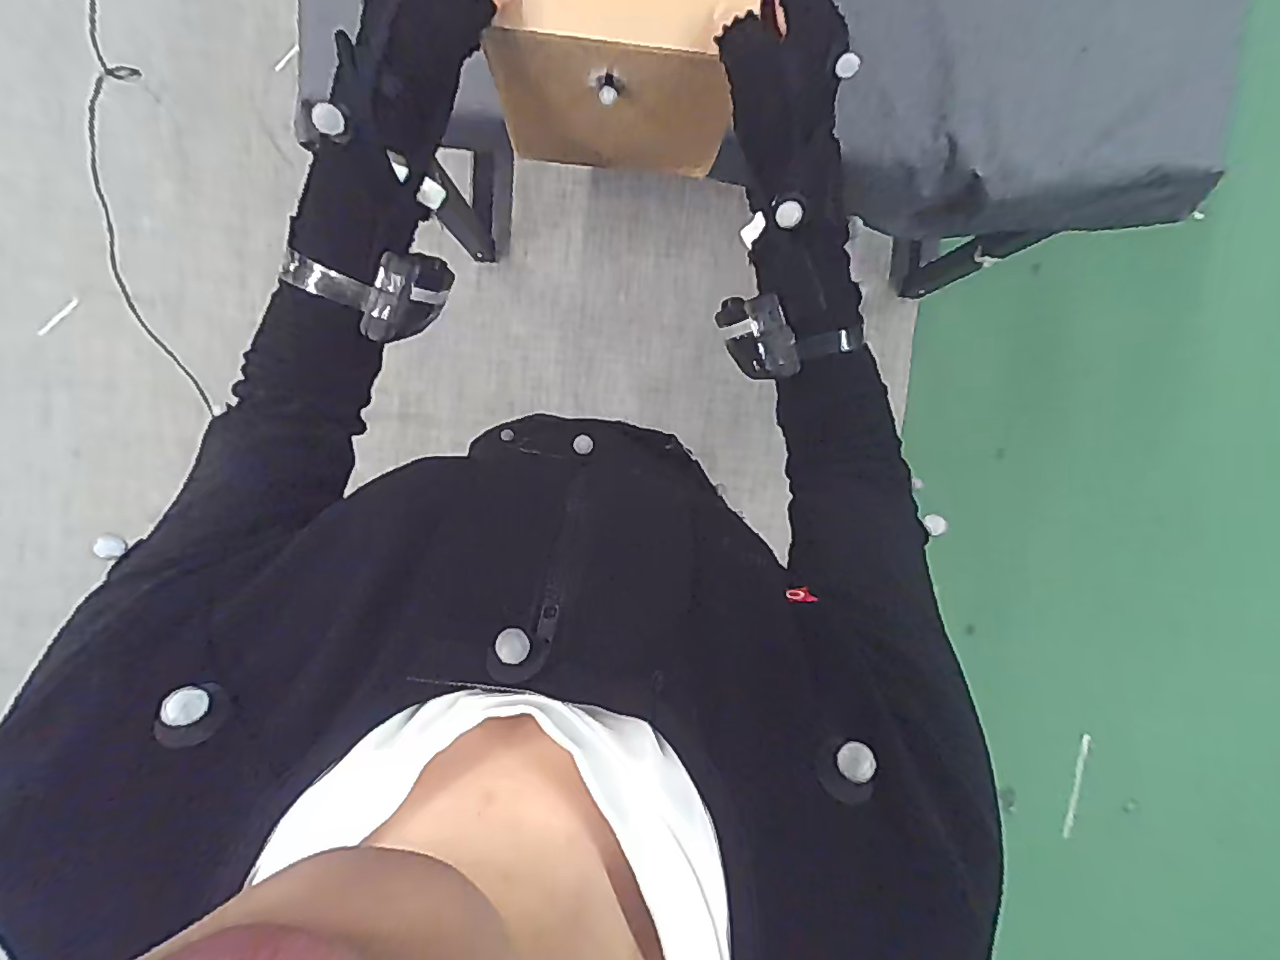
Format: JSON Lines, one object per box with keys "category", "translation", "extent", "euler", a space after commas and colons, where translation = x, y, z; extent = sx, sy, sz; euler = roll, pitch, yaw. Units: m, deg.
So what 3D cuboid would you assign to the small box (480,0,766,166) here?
{"category": "small box", "translation": [-0.011, -0.360, 0.402], "extent": [0.179, 0.176, 0.168], "euler": [3, 96, -6]}
